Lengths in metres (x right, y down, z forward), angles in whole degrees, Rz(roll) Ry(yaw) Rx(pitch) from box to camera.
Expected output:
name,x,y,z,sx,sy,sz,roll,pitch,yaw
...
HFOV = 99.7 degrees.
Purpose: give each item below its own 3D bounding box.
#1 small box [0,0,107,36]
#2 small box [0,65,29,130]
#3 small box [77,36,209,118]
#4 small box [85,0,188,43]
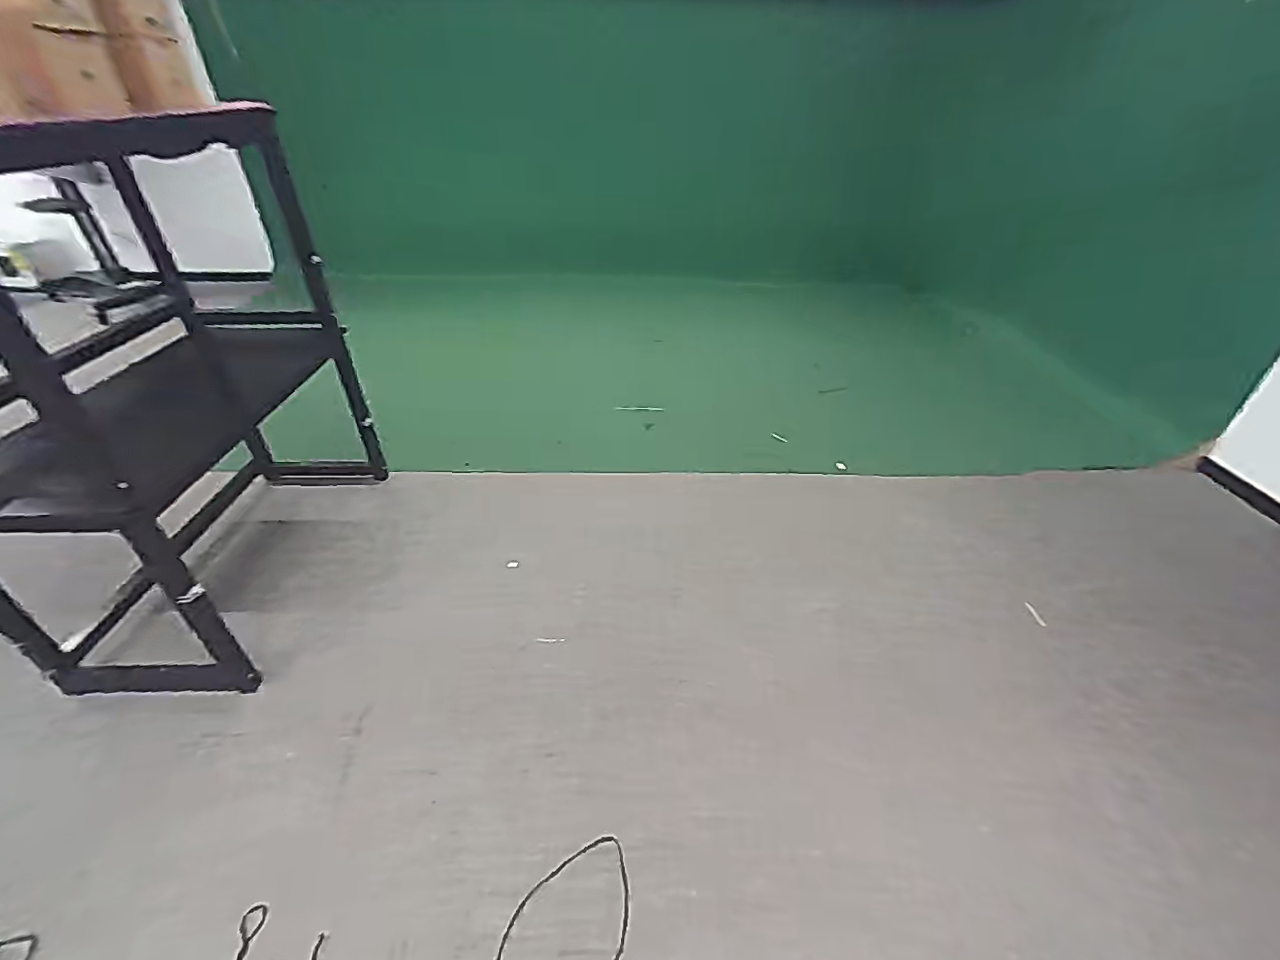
name,x,y,z,sx,sy,sz,roll,pitch,yaw
small box,-1.314,-1.059,1.143,0.179,0.176,0.168,3,36,1
small box,-1.300,-0.730,0.971,0.179,0.176,0.168,-3,35,-4
small box,-1.332,-1.092,1.469,0.179,0.176,0.168,1,36,-1
small box,-1.328,-1.230,1.381,0.179,0.176,0.168,3,37,0
